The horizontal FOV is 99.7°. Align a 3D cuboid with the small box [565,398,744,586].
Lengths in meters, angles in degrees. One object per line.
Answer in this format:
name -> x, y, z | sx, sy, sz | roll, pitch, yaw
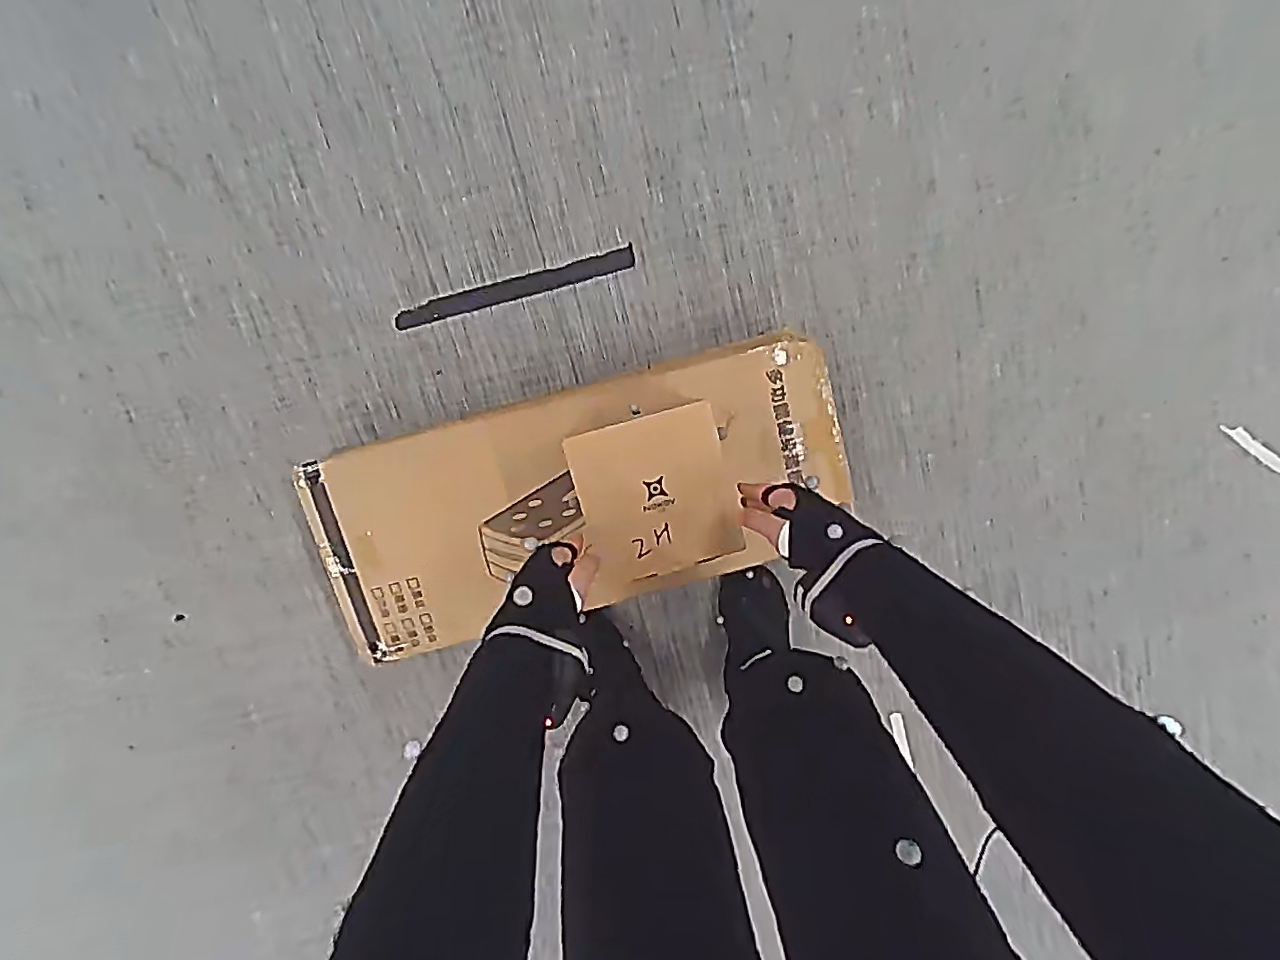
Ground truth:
small box -> 0.012, 0.005, 0.665 | 0.168, 0.176, 0.179 | -15, 100, -1
